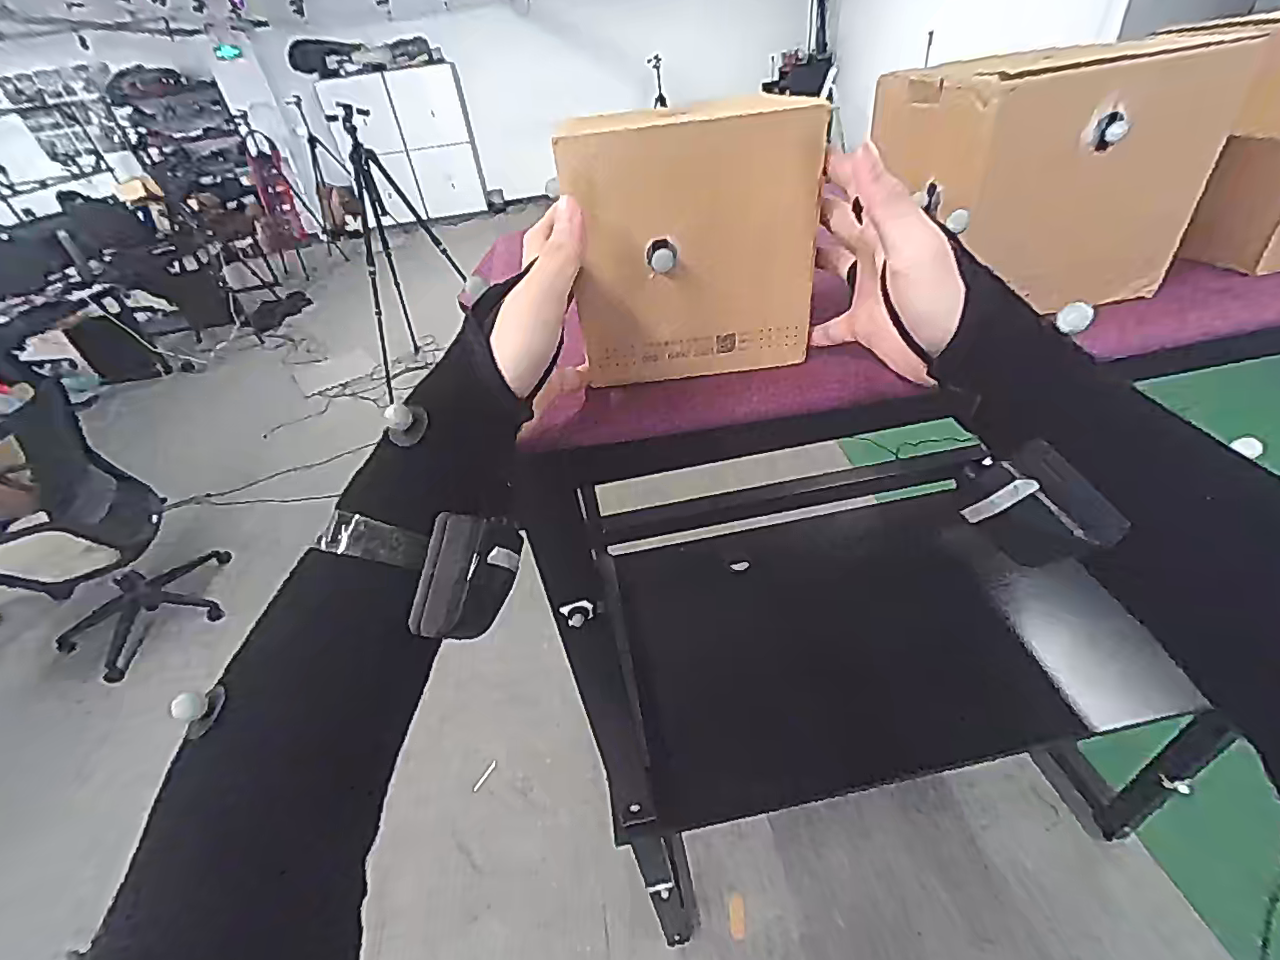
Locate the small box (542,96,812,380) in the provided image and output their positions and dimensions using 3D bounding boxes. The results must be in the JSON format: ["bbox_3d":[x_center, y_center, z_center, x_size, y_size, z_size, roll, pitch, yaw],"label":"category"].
[{"bbox_3d":[0.027,-0.188,0.430,0.168,0.176,0.179,-8,36,1],"label":"small box"}]
